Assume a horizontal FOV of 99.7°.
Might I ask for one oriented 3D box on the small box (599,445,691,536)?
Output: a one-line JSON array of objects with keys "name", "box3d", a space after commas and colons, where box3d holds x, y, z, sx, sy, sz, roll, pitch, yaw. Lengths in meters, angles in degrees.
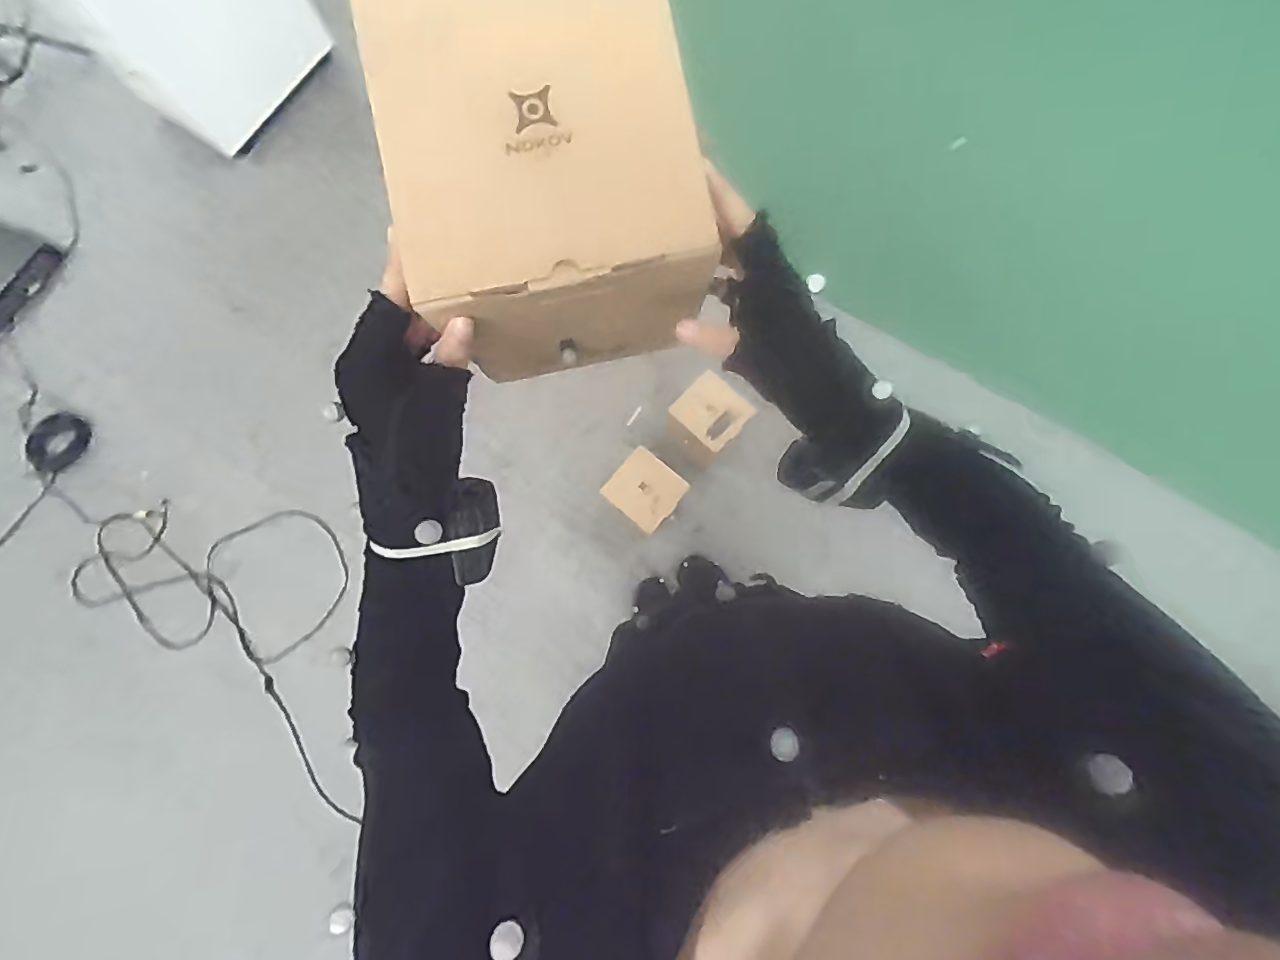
[{"name": "small box", "box3d": [0.013, 0.036, 1.438, 0.179, 0.176, 0.168, 40, 83, 7]}]
